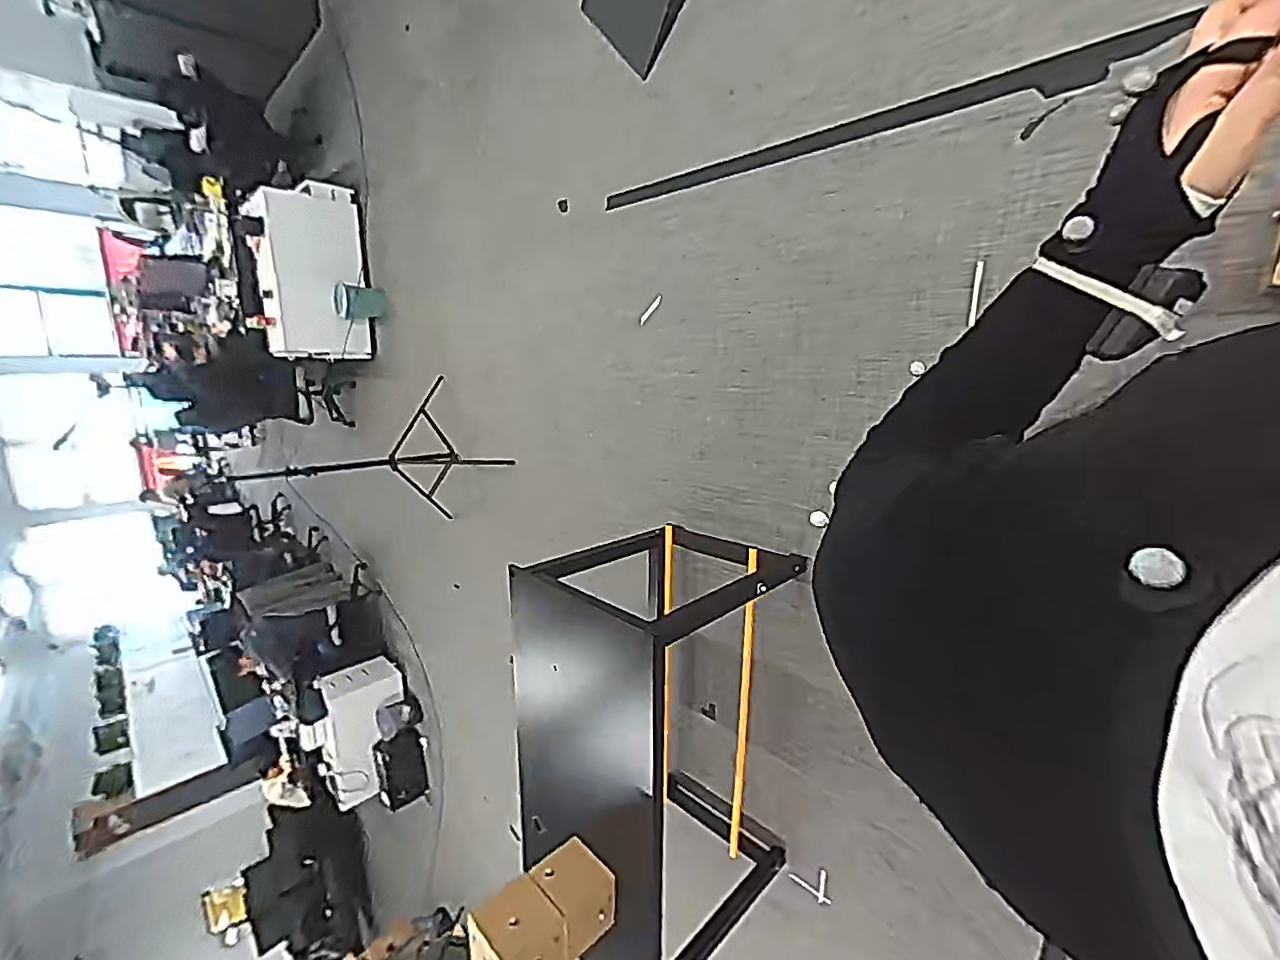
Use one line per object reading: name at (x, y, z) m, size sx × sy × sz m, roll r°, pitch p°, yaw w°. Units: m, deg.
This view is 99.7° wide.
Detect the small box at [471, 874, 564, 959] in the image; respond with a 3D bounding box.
small box at (-0.304, 1.160, 1.369) m, size 0.179 × 0.176 × 0.168 m, roll 10°, pitch 106°, yaw 44°

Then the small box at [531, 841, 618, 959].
small box at (-0.181, 1.135, 1.475) m, size 0.179 × 0.176 × 0.168 m, roll 14°, pitch 109°, yaw 44°

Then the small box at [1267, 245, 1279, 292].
small box at (1.143, -0.389, 0.849) m, size 0.179 × 0.176 × 0.168 m, roll 16°, pitch 110°, yaw 42°
